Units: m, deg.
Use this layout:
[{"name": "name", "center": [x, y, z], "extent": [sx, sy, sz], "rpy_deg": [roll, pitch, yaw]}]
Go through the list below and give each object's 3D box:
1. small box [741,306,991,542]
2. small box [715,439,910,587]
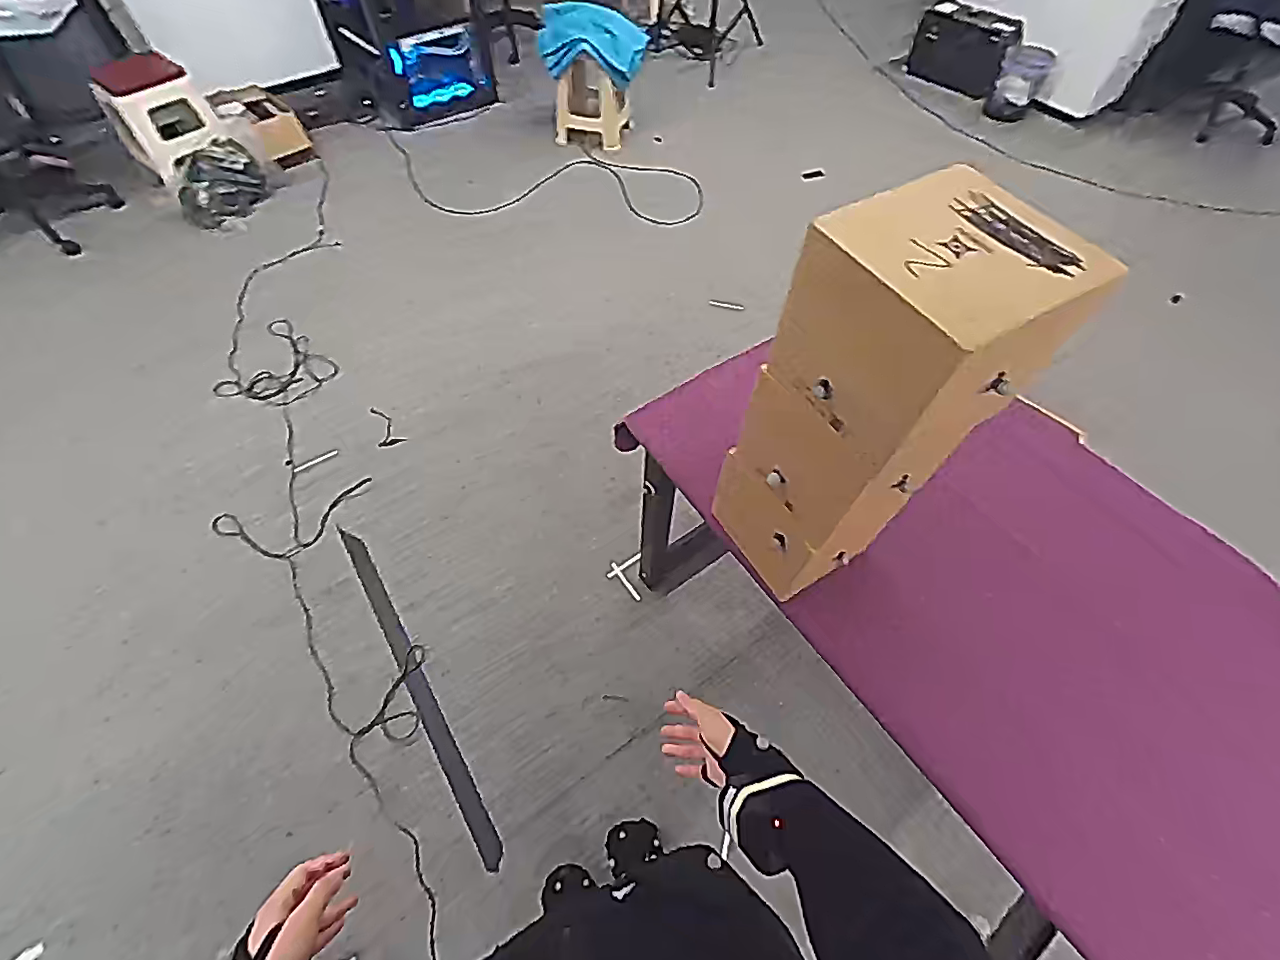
[{"name": "small box", "center": [0.239, -0.060, 0.622], "extent": [0.179, 0.176, 0.168], "rpy_deg": [-28, 63, -16]}, {"name": "small box", "center": [0.226, 0.030, 0.760], "extent": [0.168, 0.176, 0.179], "rpy_deg": [-27, 62, -17]}]
